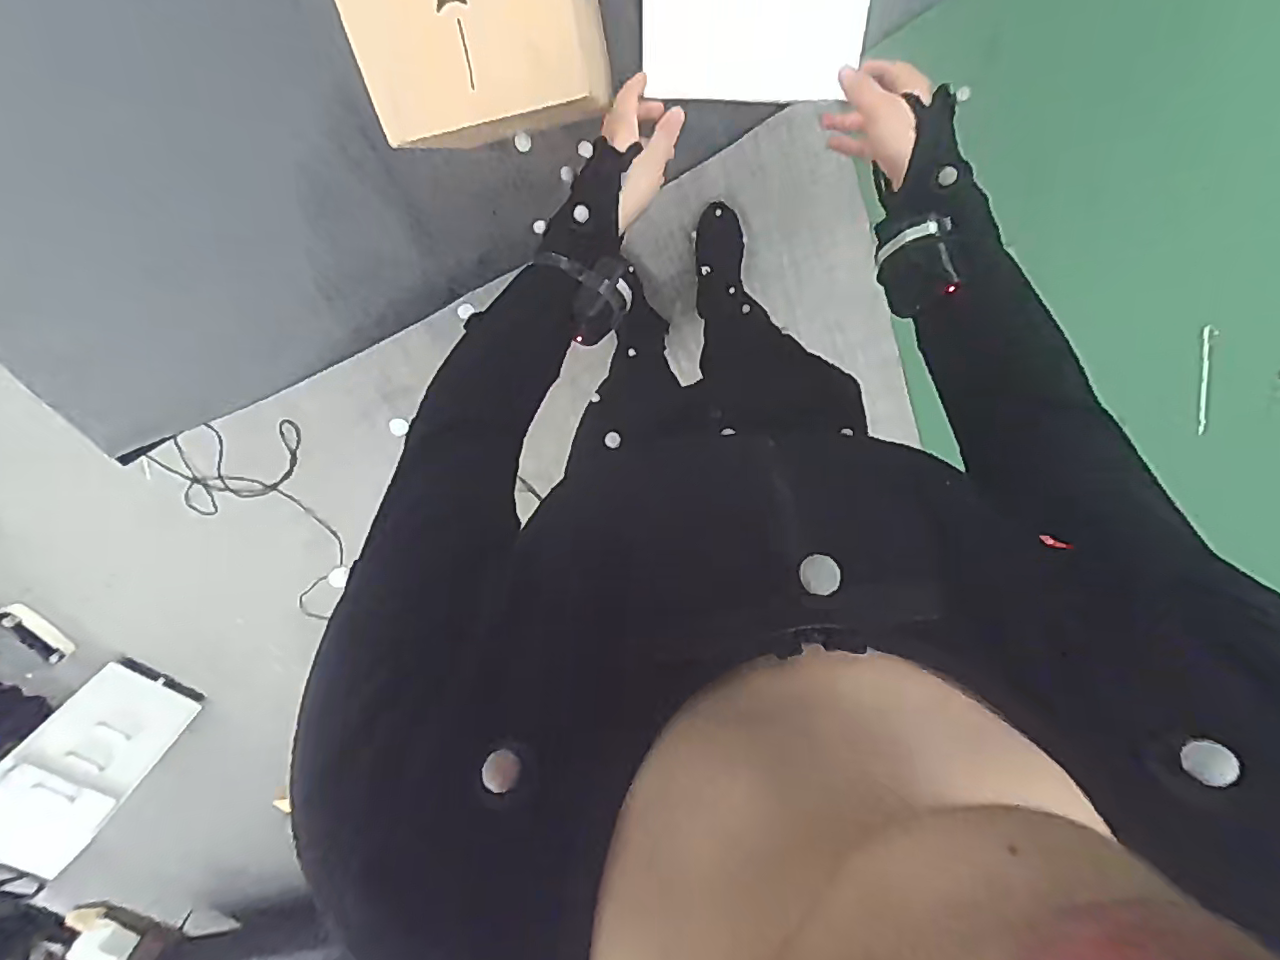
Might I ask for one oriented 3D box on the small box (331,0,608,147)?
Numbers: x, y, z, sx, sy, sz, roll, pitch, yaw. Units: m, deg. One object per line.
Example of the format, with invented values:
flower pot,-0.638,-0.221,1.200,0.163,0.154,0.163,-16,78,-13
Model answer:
small box,-0.130,-0.384,0.438,0.168,0.176,0.179,-7,121,10
